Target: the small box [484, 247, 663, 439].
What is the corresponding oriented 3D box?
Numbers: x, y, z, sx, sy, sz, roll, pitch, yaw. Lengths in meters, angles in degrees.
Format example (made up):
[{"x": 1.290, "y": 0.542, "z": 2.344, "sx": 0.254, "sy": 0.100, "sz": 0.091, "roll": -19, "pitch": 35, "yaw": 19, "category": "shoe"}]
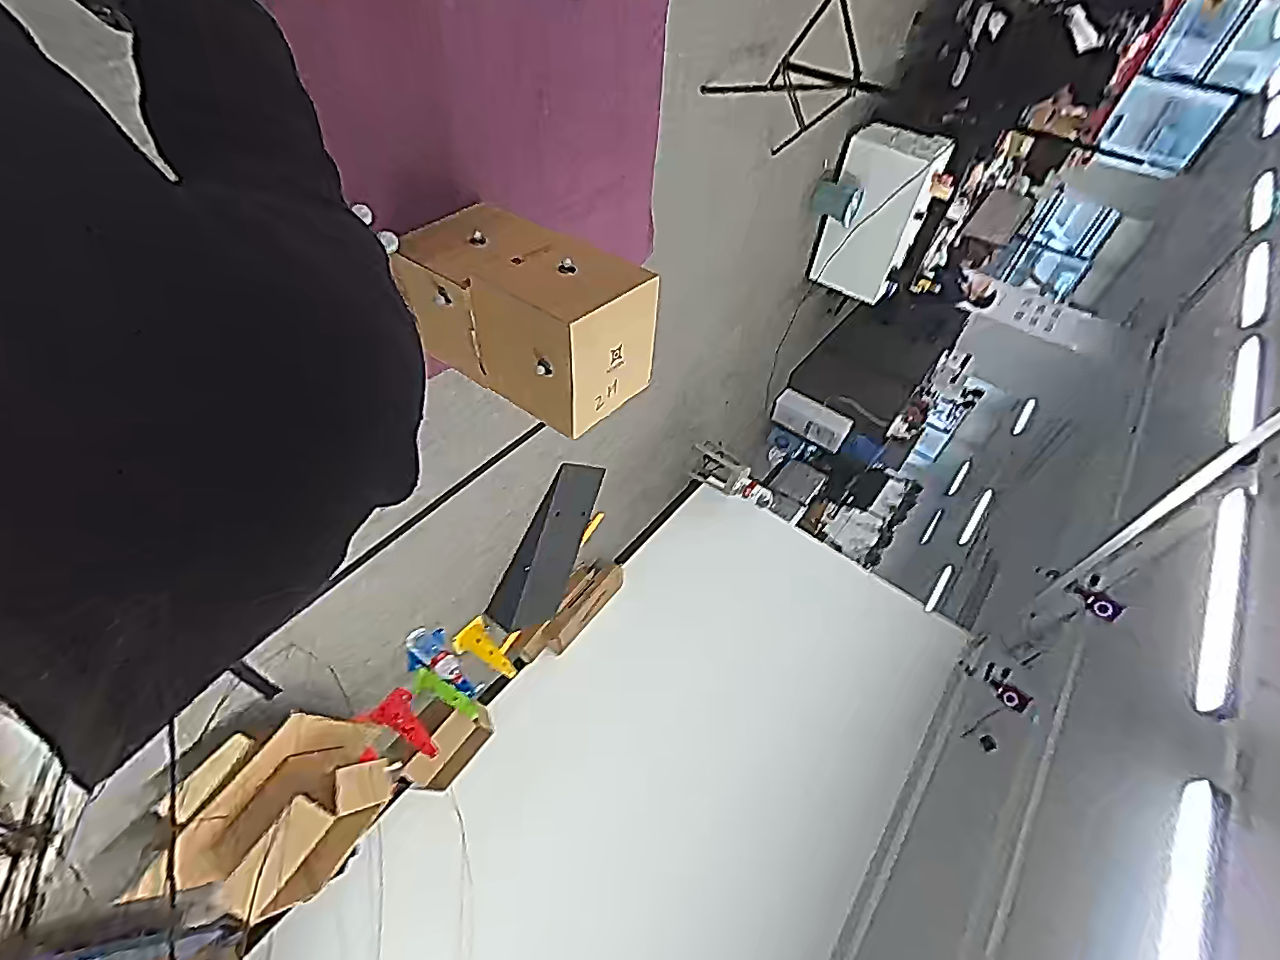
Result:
[{"x": -0.089, "y": -0.193, "z": 0.728, "sx": 0.168, "sy": 0.176, "sz": 0.179, "roll": -42, "pitch": 153, "yaw": -34, "category": "small box"}]
